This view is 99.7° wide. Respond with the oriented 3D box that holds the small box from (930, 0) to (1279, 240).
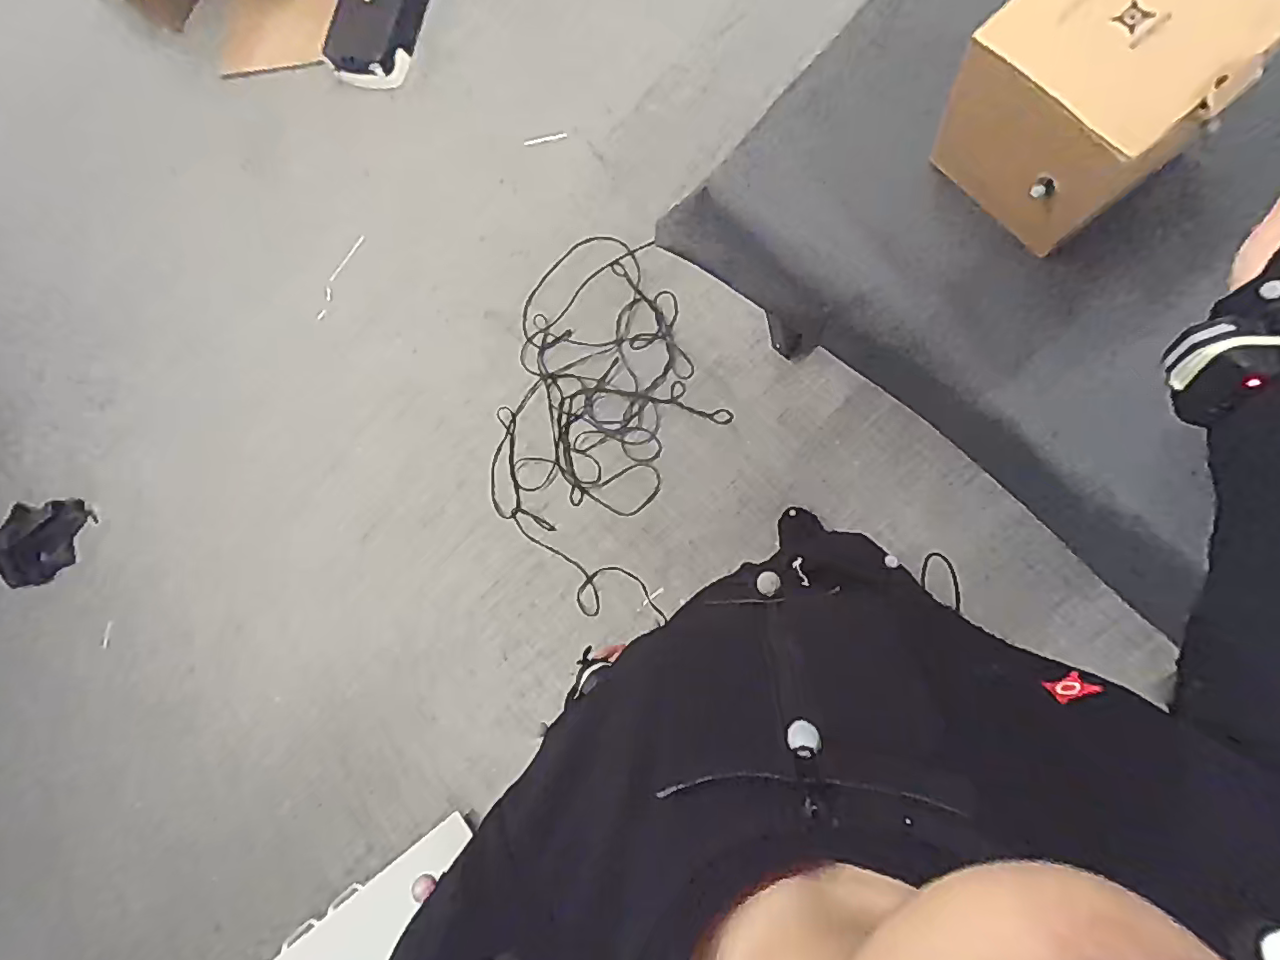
[{"bbox_3d":[0.417,-0.363,0.512,0.168,0.176,0.179,-41,75,9],"label":"small box"}]
